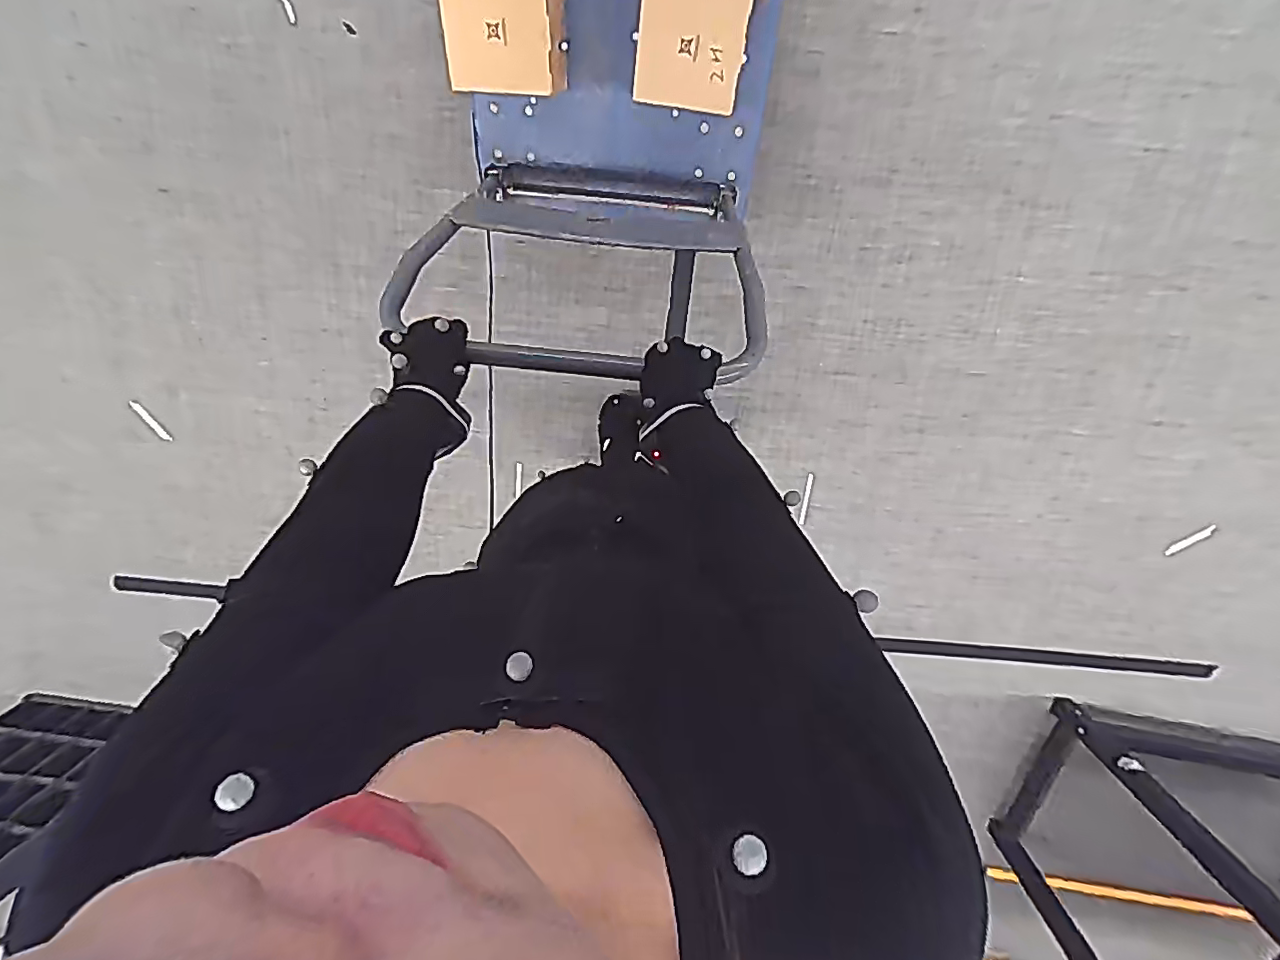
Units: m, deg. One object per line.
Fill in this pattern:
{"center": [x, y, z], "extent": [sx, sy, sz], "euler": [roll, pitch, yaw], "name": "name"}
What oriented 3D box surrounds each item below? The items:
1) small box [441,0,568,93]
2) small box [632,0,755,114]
{"center": [-0.227, -0.778, 0.938], "extent": [0.179, 0.176, 0.168], "euler": [3, 128, 0], "name": "small box"}
{"center": [0.088, -0.749, 0.936], "extent": [0.179, 0.176, 0.168], "euler": [8, 128, -2], "name": "small box"}
